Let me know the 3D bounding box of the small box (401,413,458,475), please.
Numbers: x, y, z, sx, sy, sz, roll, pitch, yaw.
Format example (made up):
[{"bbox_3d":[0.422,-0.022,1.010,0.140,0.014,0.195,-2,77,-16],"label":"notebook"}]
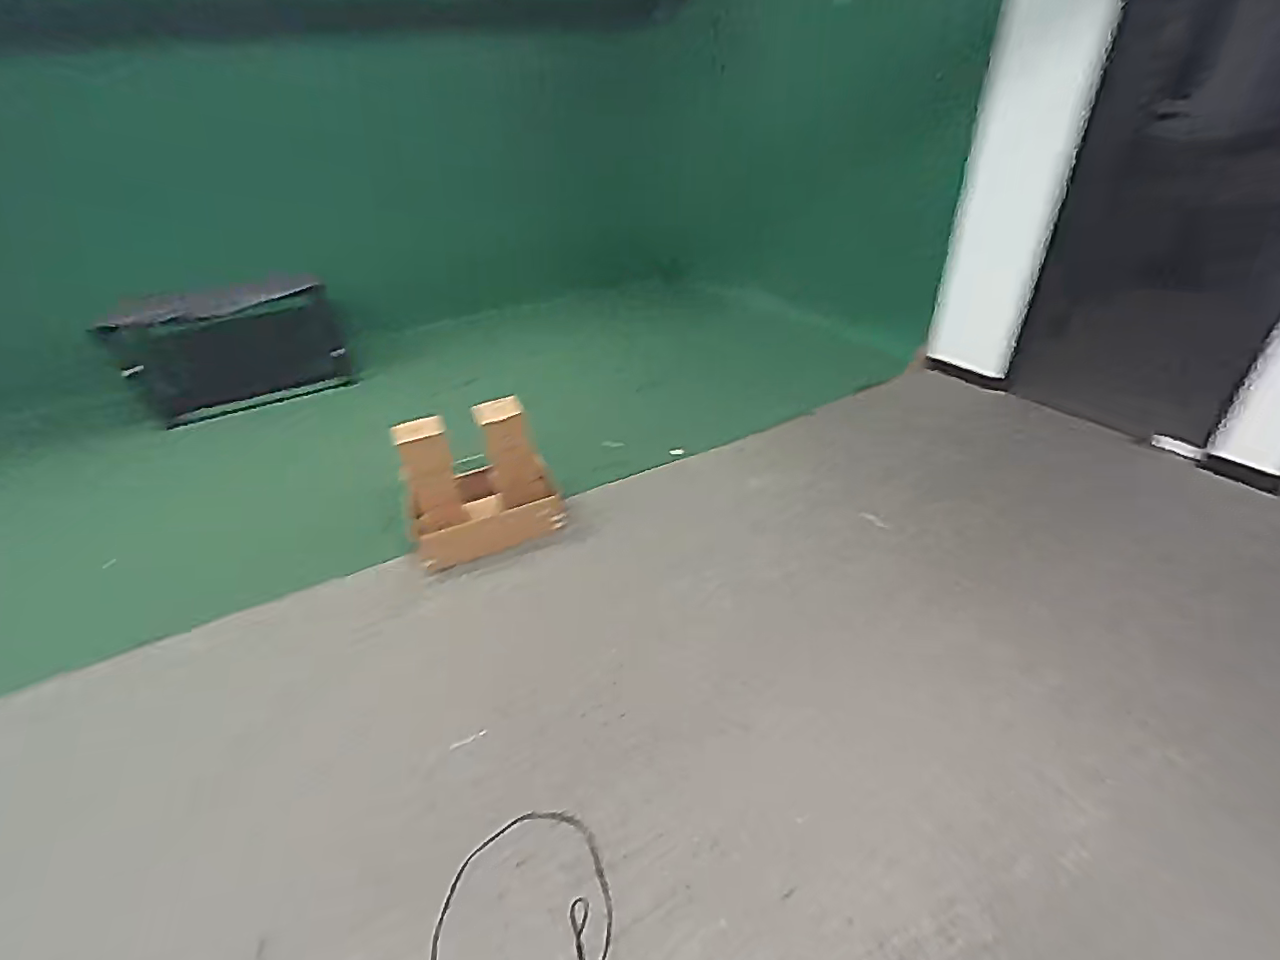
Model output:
[{"bbox_3d":[-0.848,-0.145,2.187,0.179,0.176,0.168,-18,37,-17],"label":"small box"}]

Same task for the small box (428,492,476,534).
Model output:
[{"bbox_3d":[-0.836,0.118,2.385,0.168,0.176,0.179,-18,38,-18],"label":"small box"}]

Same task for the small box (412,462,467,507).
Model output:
[{"bbox_3d":[-0.848,-0.009,2.281,0.179,0.176,0.168,-16,38,-18],"label":"small box"}]

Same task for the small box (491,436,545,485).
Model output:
[{"bbox_3d":[-0.534,-0.100,2.369,0.179,0.176,0.168,-19,40,-18],"label":"small box"}]

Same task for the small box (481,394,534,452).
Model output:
[{"bbox_3d":[-0.556,-0.235,2.278,0.168,0.176,0.179,-17,39,-14],"label":"small box"}]
